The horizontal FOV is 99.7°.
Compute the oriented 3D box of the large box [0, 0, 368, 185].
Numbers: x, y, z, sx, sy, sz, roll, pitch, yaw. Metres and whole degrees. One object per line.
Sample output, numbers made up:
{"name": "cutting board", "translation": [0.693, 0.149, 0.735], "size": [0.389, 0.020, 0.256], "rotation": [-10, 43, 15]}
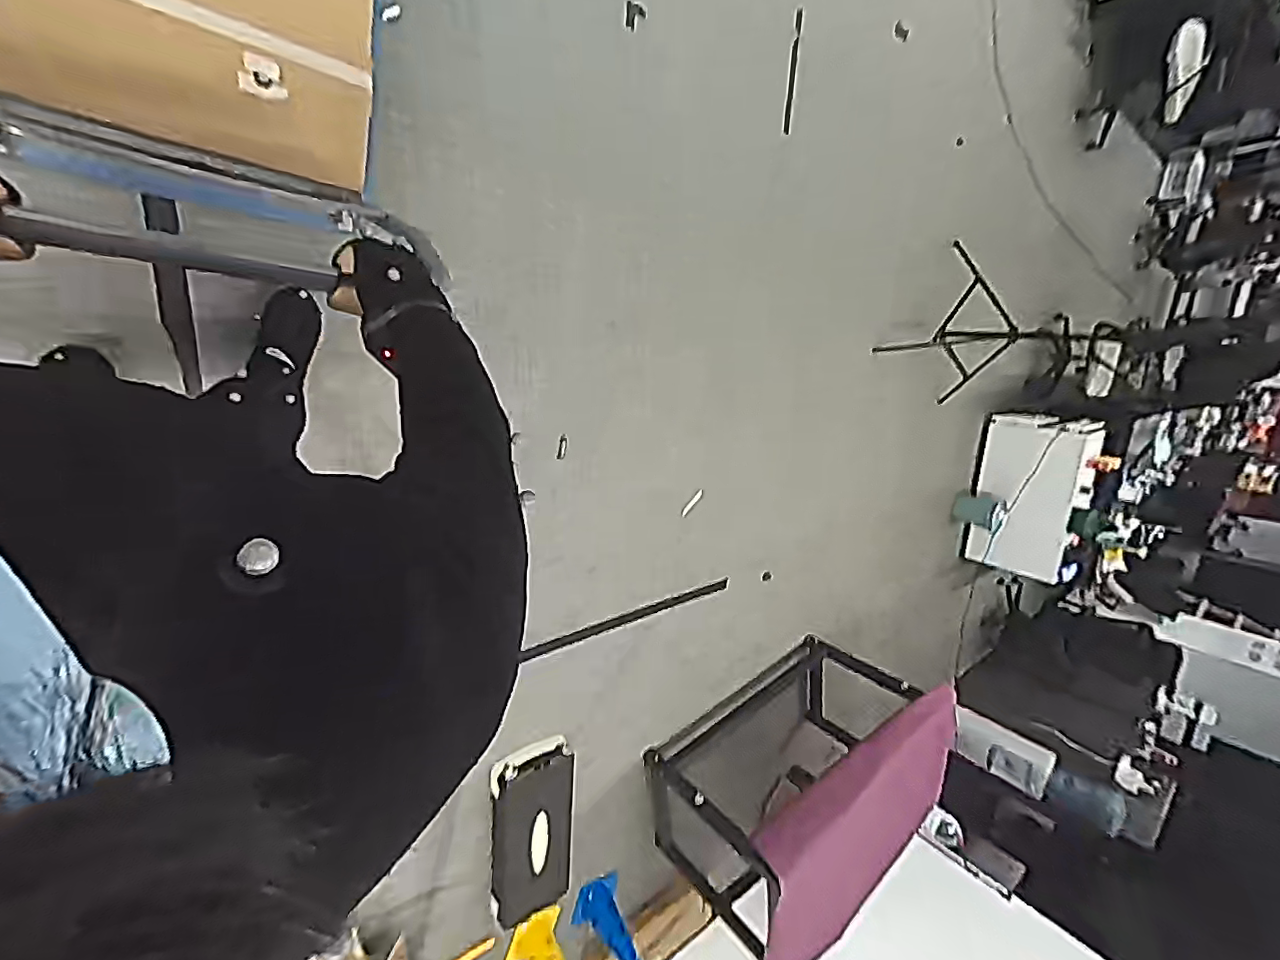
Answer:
{"name": "large box", "translation": [-0.669, -0.669, 0.810], "size": [0.408, 0.320, 0.320], "rotation": [-3, 116, -40]}
